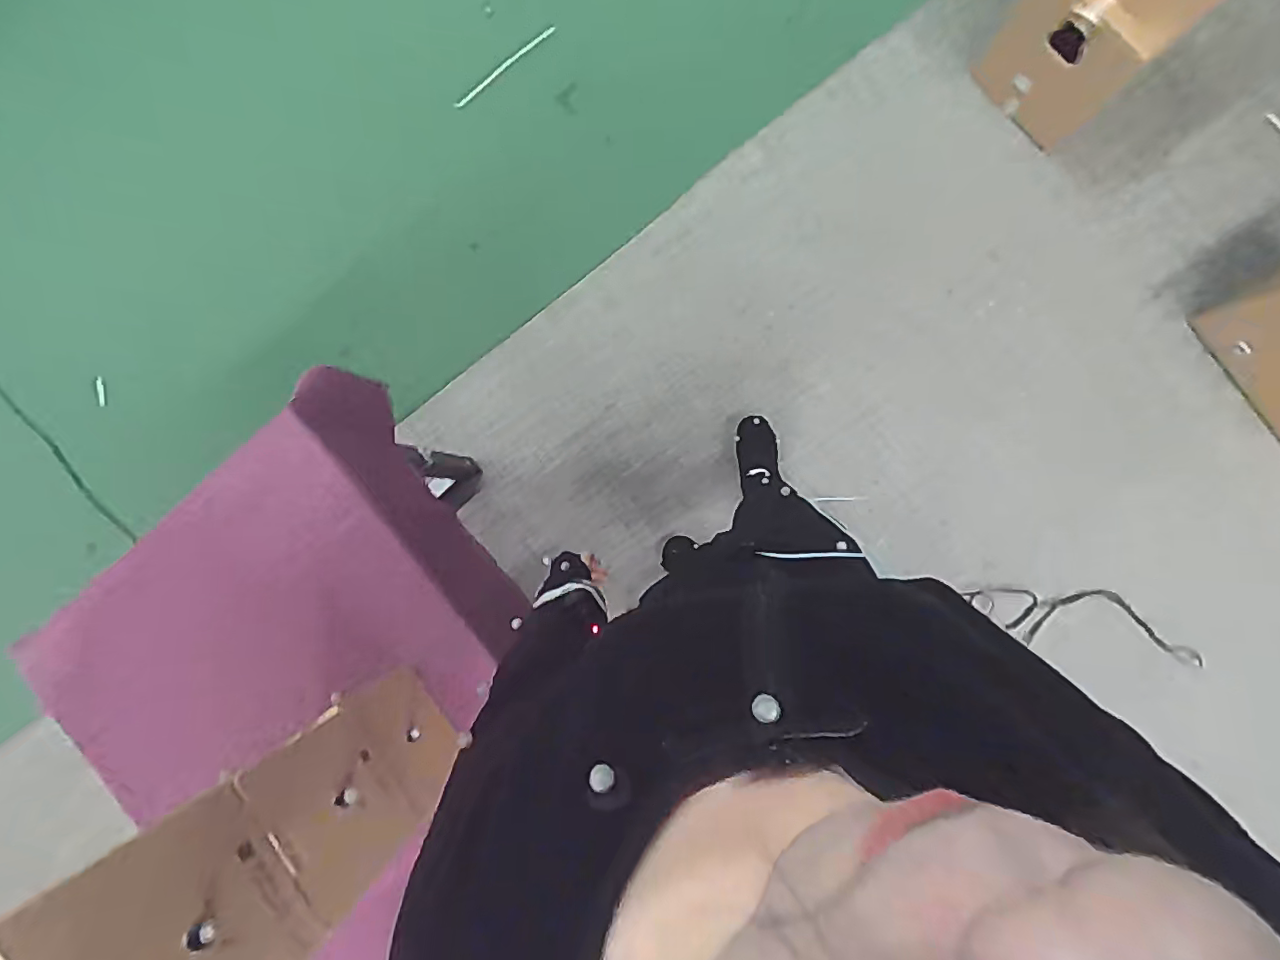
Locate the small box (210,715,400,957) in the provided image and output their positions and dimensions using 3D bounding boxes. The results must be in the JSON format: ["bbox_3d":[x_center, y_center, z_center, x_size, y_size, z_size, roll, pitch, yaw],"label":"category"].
[{"bbox_3d":[-0.380,0.379,0.556,0.179,0.176,0.168,-35,86,2],"label":"small box"}]

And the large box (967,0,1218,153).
[{"bbox_3d":[1.130,-1.128,1.329,0.408,0.320,0.320,-39,85,1],"label":"large box"}]

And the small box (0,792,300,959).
[{"bbox_3d":[-0.391,0.374,0.391,0.179,0.176,0.168,-37,86,3],"label":"small box"}]

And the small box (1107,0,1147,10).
[{"bbox_3d":[1.046,-1.110,1.088,0.168,0.176,0.179,-41,83,1],"label":"small box"}]
